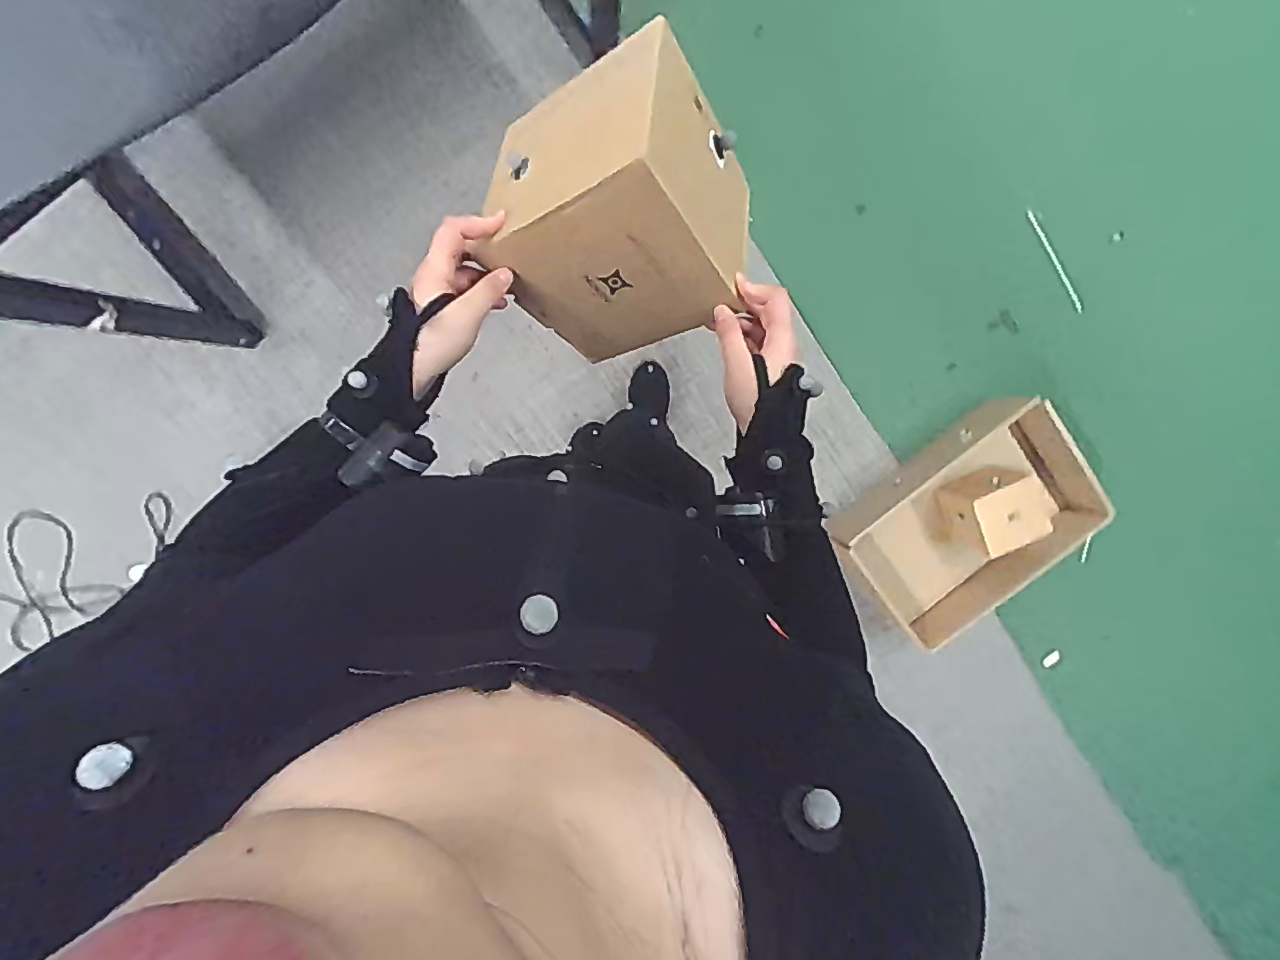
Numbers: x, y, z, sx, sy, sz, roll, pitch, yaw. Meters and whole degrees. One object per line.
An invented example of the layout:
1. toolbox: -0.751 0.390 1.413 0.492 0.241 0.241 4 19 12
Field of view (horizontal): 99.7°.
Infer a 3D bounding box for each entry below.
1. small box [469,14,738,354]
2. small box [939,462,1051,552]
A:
1. small box: -0.022 -0.250 0.491 0.179 0.168 0.176 -13 62 34
2. small box: 0.931 0.066 1.440 0.179 0.176 0.168 -25 101 1
